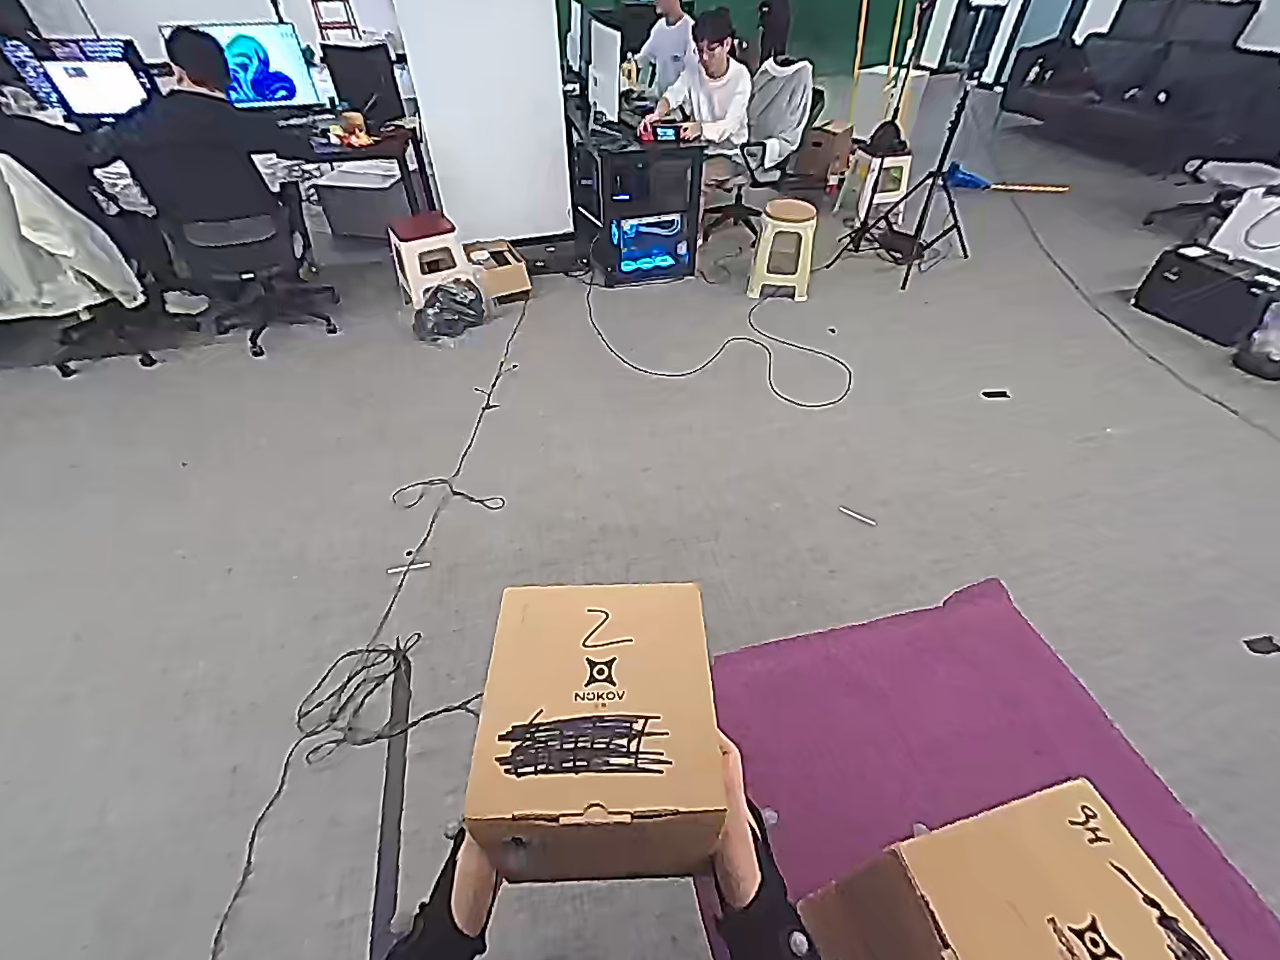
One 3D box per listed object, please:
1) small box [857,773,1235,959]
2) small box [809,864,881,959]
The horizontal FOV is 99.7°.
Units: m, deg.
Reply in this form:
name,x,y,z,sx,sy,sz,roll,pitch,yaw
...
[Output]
name,x,y,z,sx,sy,sz,roll,pitch,yaw
small box,0.290,0.359,0.412,0.179,0.176,0.168,-11,46,-11
small box,0.282,0.476,0.527,0.179,0.176,0.168,-8,46,-10
